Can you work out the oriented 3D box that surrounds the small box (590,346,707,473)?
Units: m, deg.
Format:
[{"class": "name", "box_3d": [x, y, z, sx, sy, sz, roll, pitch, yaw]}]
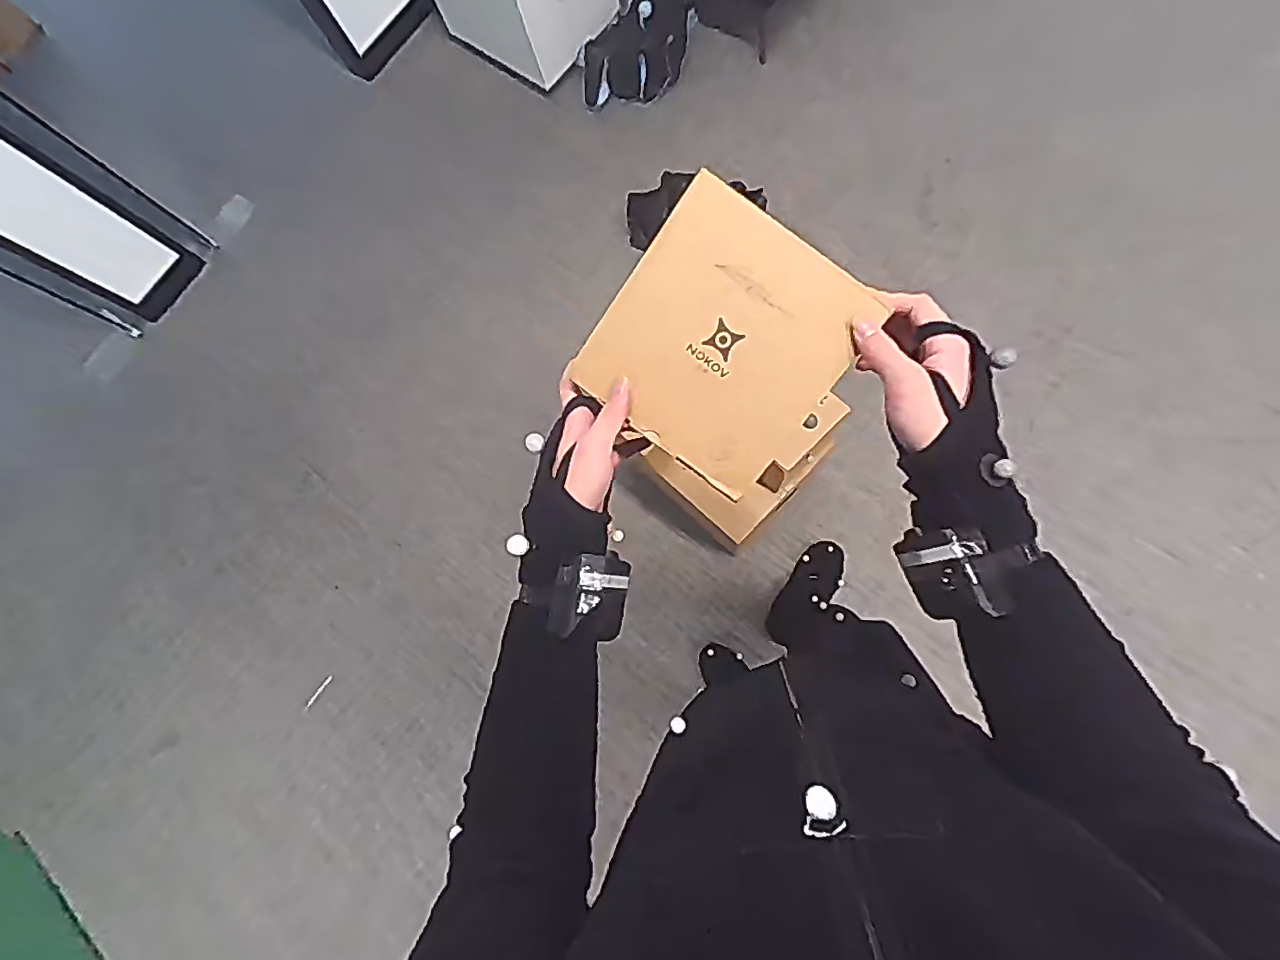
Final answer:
[{"class": "small box", "box_3d": [0.025, -0.142, 1.142, 0.179, 0.176, 0.168, -45, 74, -1]}]

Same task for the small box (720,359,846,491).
[{"class": "small box", "box_3d": [0.280, -0.101, 1.093, 0.179, 0.176, 0.168, -43, 73, -5]}]
